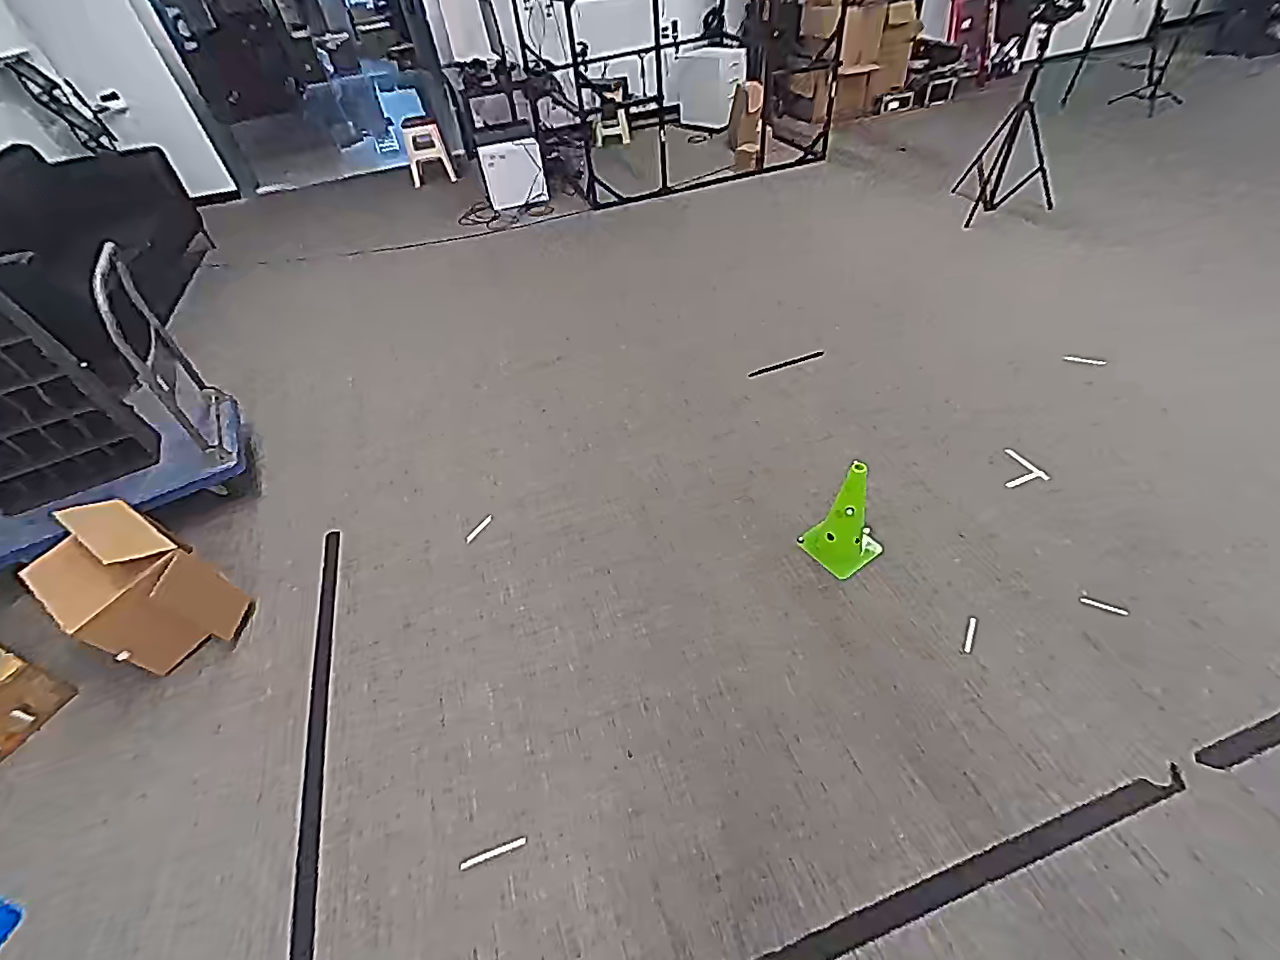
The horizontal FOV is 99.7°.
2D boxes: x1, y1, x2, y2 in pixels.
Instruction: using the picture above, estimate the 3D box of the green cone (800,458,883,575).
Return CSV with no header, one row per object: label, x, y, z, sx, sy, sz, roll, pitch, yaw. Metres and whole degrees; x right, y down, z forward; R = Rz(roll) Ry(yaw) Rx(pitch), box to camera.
green cone,0.636,0.081,1.627,0.202,0.368,0.200,-29,49,-21
